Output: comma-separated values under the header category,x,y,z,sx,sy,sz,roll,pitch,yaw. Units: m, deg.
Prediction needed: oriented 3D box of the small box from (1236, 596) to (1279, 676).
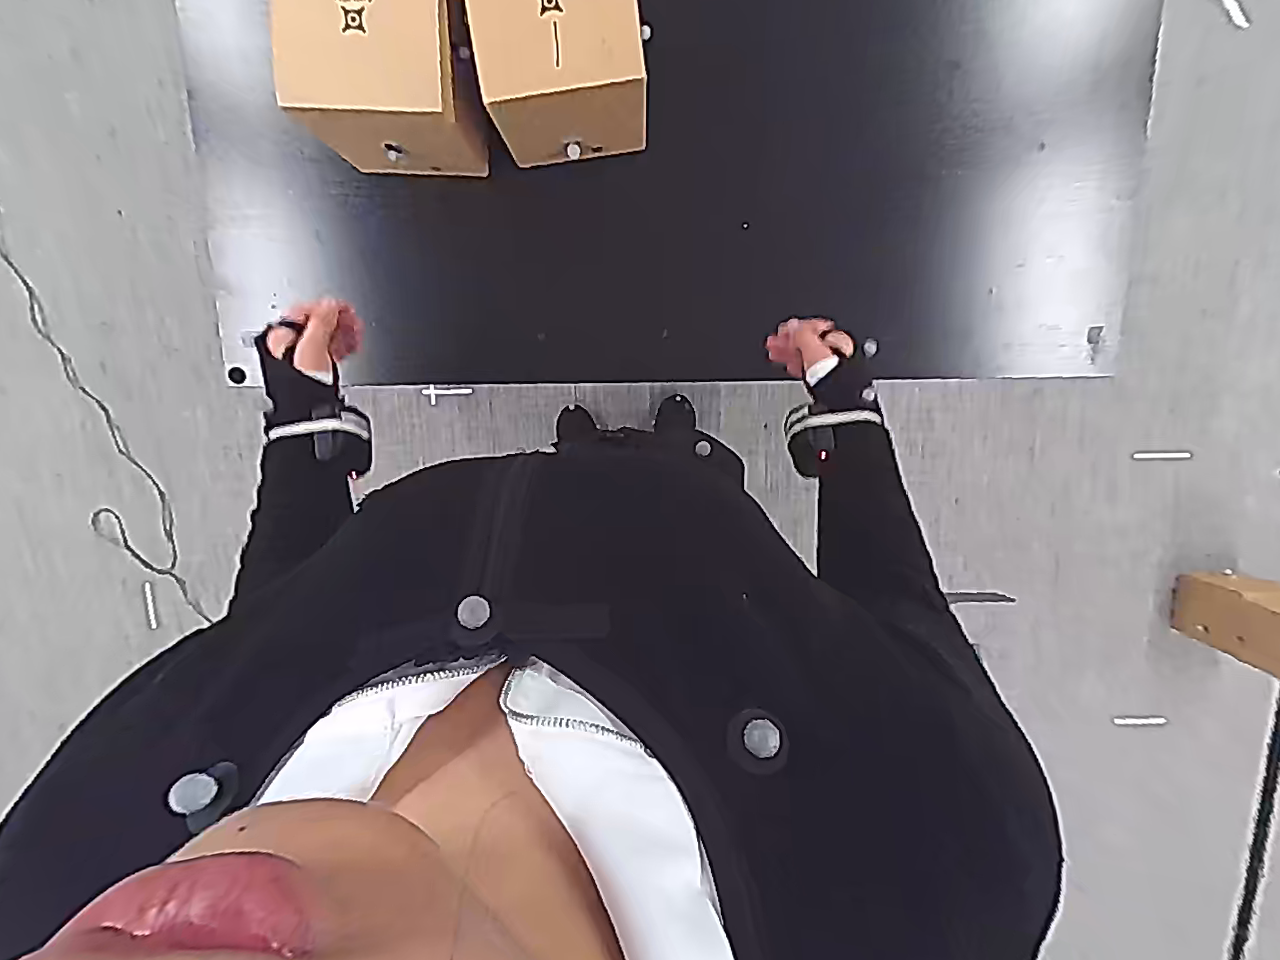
category,x,y,z,sx,sy,sz,roll,pitch,yaw
small box,1.608,0.383,1.288,0.179,0.176,0.168,-3,100,0

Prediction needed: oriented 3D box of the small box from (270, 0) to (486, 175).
category,x,y,z,sx,sy,sz,roll,pitch,yaw
small box,-0.275,-0.463,0.603,0.168,0.176,0.179,2,99,-1

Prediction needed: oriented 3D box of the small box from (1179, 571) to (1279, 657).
category,x,y,z,sx,sy,sz,roll,pitch,yaw
small box,1.611,0.354,1.450,0.168,0.176,0.179,-2,99,0
